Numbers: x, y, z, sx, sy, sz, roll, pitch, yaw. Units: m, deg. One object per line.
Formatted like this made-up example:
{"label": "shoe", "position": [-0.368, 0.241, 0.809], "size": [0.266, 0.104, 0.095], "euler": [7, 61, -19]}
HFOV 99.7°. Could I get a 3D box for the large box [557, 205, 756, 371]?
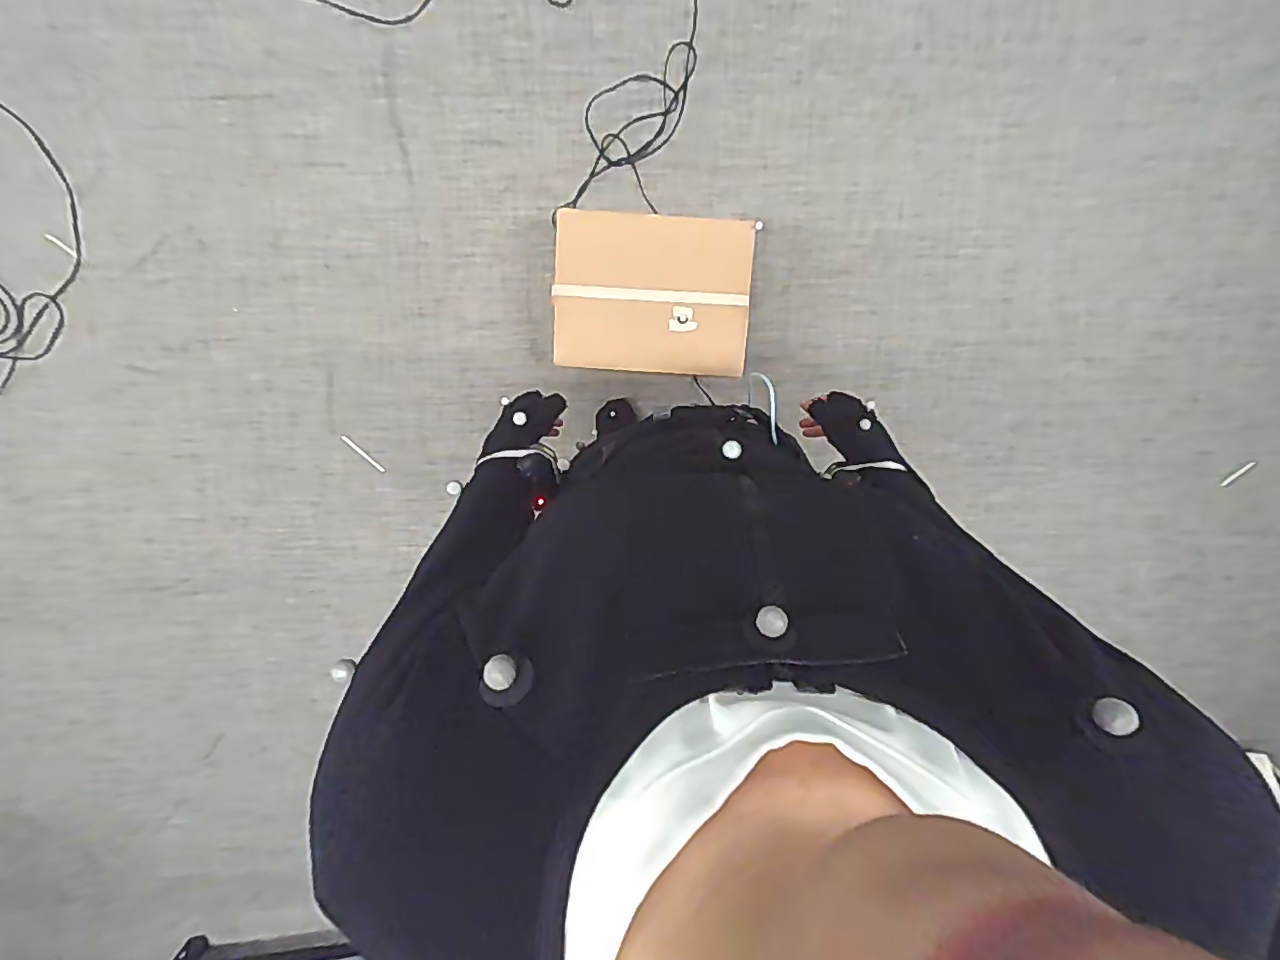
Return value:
{"label": "large box", "position": [0.027, -0.418, 1.256], "size": [0.408, 0.320, 0.320], "euler": [3, 102, -1]}
